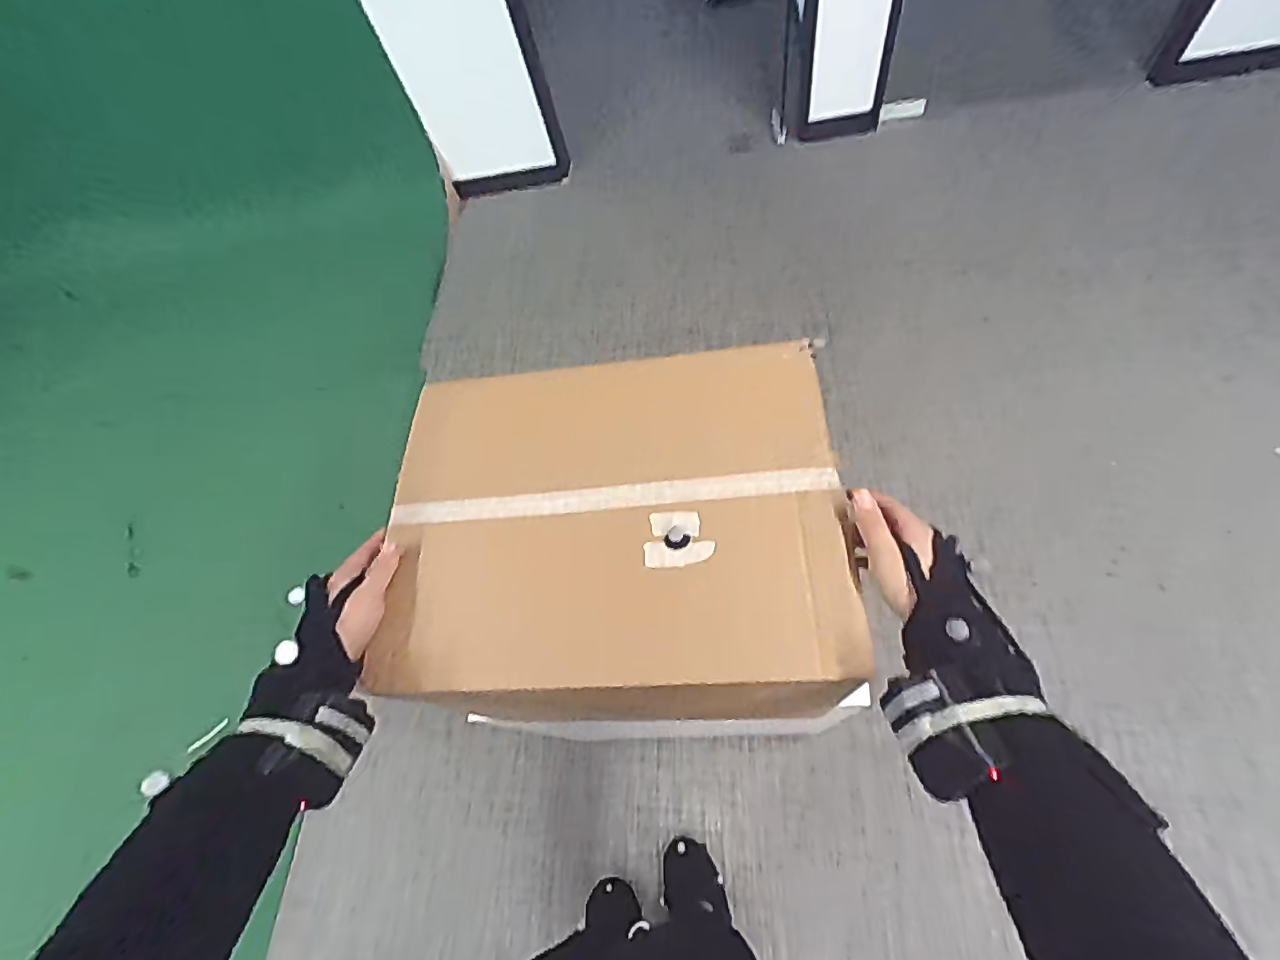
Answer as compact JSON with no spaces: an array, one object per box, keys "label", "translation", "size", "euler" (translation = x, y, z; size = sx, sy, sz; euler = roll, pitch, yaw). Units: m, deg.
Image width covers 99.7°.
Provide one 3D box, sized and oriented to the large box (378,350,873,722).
[{"label":"large box","translation":[-0.004,0.090,0.622],"size":[0.408,0.320,0.320],"euler":[-5,62,7]}]
